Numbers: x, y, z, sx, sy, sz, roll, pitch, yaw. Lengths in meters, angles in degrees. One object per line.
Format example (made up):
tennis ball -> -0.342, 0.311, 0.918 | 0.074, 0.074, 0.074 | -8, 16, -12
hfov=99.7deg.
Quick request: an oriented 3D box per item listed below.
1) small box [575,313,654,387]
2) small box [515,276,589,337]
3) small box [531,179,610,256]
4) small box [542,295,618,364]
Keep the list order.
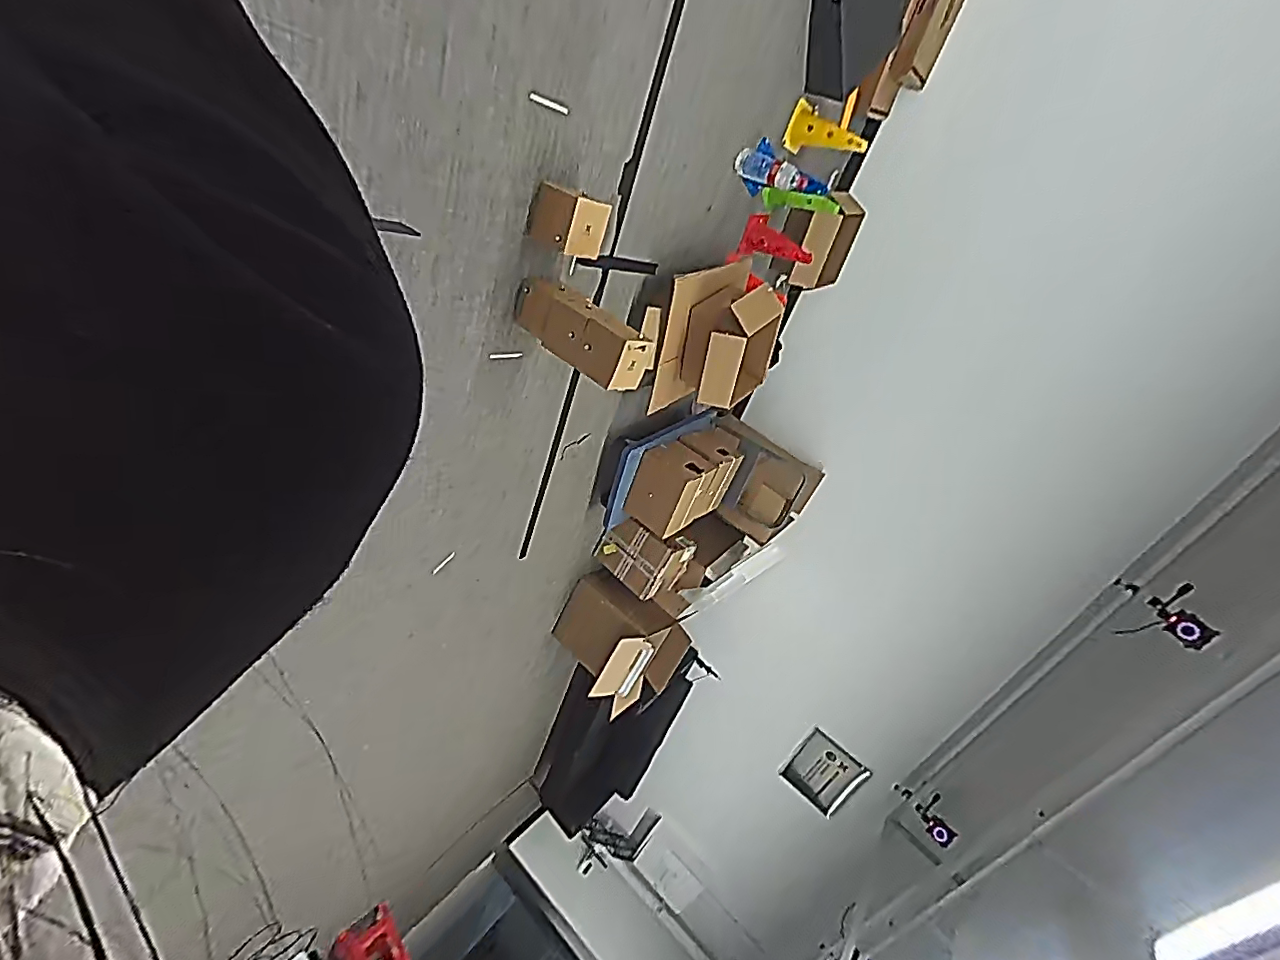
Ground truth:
small box -> -0.091, -0.425, 1.781 | 0.168, 0.176, 0.179 | -16, 138, -54
small box -> -0.317, -0.615, 1.925 | 0.179, 0.176, 0.168 | -23, 143, -50
small box -> -0.232, -0.854, 1.758 | 0.168, 0.176, 0.179 | -21, 142, -51
small box -> -0.209, -0.516, 1.849 | 0.168, 0.176, 0.179 | -19, 140, -51
